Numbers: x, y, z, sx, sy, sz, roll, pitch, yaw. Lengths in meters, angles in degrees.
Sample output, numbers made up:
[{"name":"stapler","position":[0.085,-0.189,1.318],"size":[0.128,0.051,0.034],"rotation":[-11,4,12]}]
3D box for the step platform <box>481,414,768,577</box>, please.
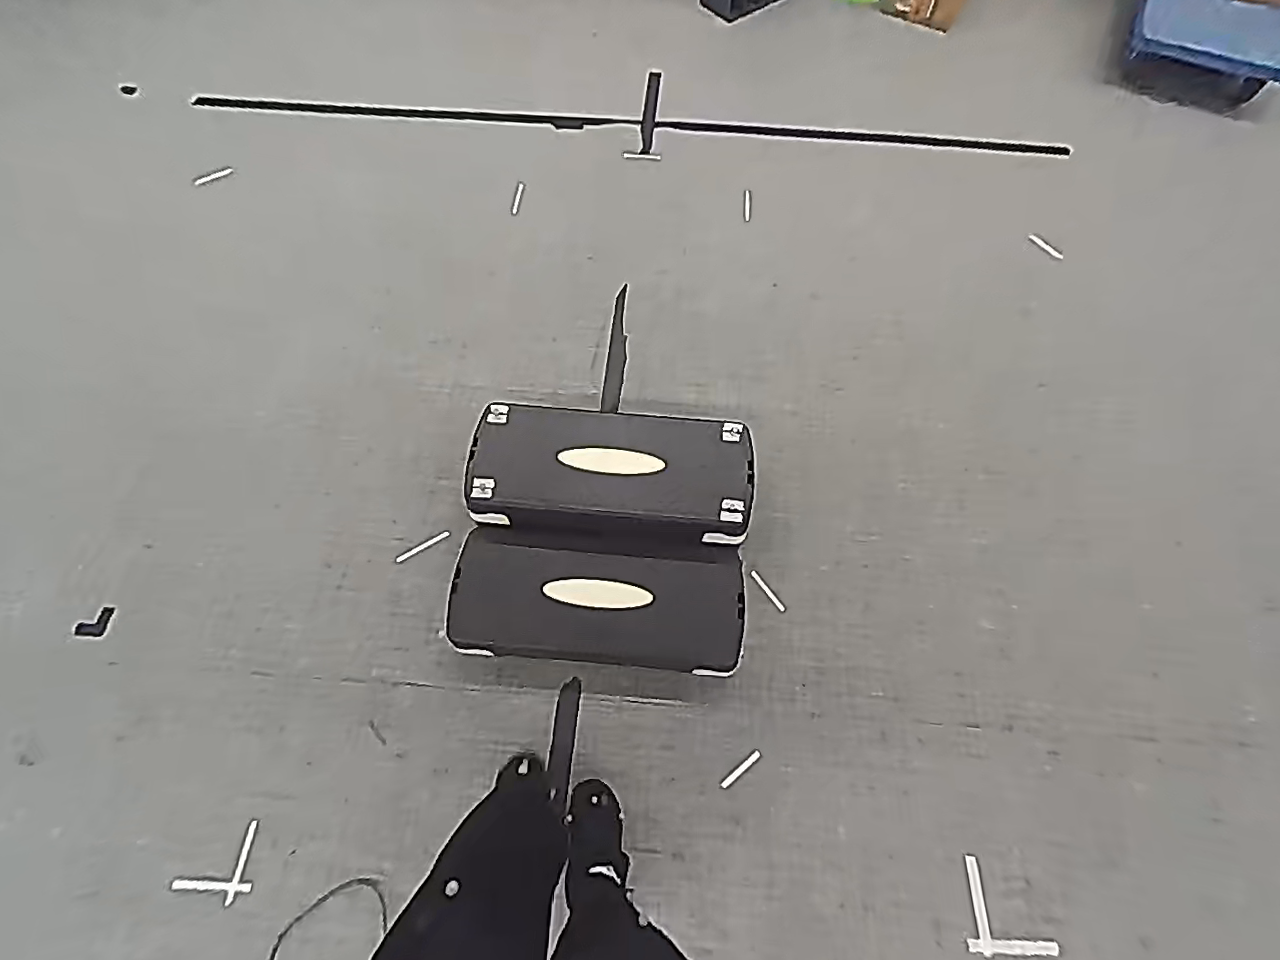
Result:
[{"name":"step platform","position":[-0.034,0.036,1.337],"size":[0.684,0.204,0.286],"rotation":[9,64,3]}]
